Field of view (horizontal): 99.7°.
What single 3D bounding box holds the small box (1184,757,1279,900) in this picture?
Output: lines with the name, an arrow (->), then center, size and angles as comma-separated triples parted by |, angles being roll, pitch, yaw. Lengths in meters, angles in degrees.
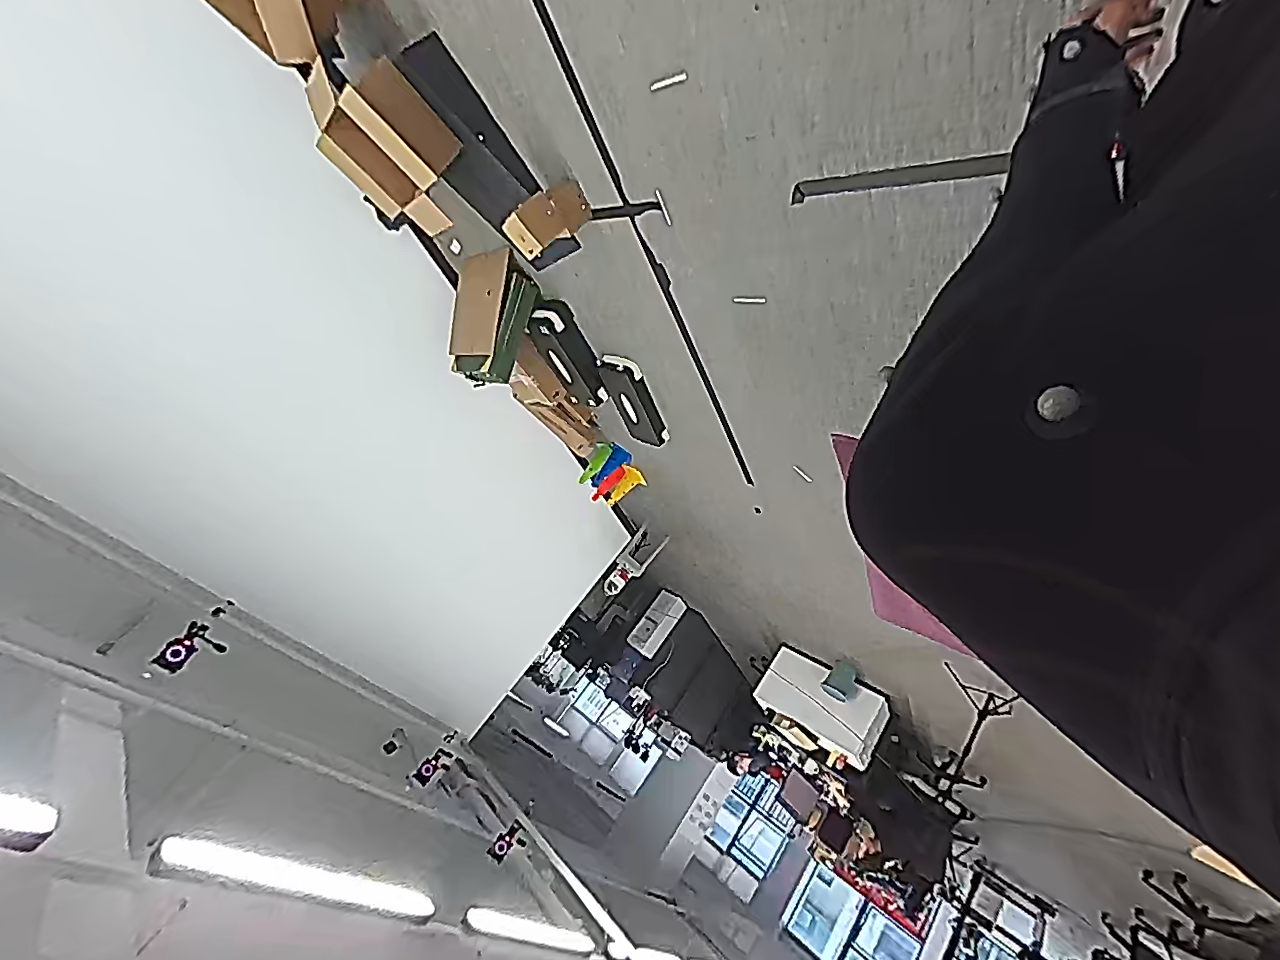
small box -> 1.178, 0.662, 1.023 | 0.168, 0.176, 0.179 | 19, 152, 44
